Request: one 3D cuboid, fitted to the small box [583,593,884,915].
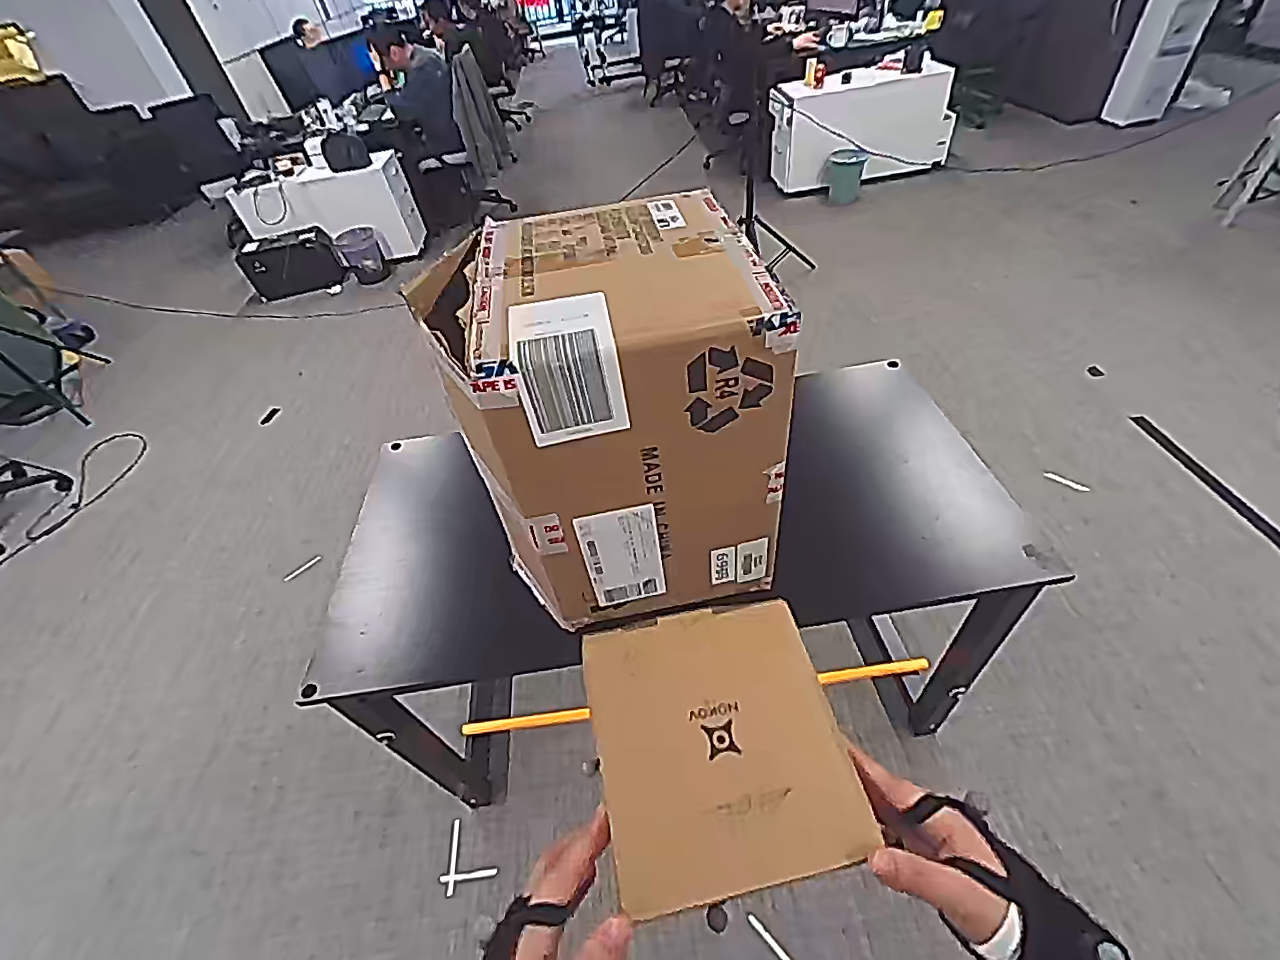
[{"bbox_3d":[0.048,0.215,0.425,0.168,0.176,0.179,-8,52,-9],"label":"small box"}]
